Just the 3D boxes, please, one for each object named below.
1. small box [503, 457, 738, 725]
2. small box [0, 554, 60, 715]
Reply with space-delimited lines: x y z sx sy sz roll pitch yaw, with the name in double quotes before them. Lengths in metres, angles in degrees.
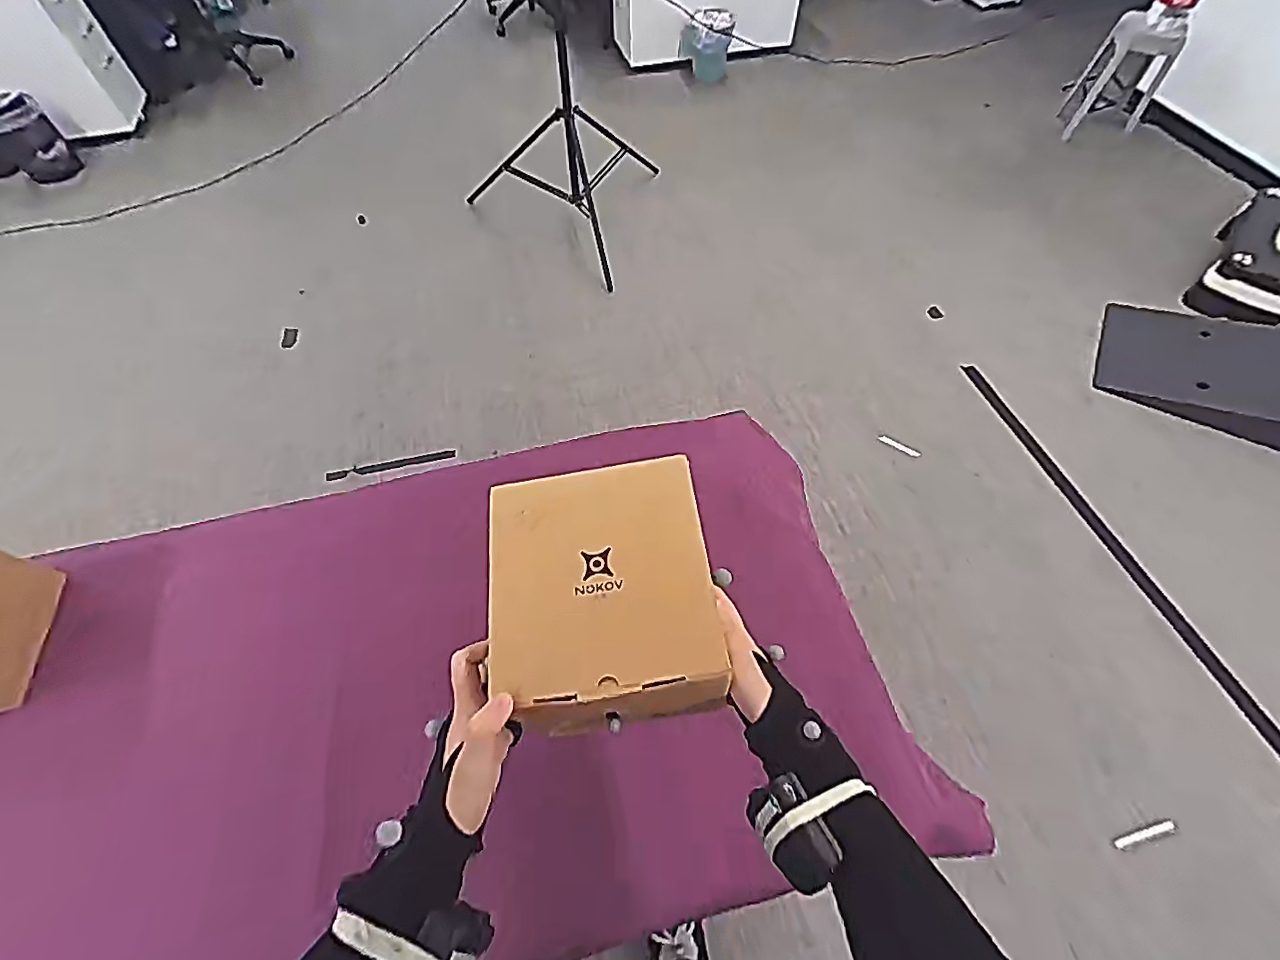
"small box" -0.017 0.105 0.480 0.168 0.176 0.179 -9 60 1
"small box" -0.846 0.178 0.622 0.168 0.176 0.179 -10 61 -6
